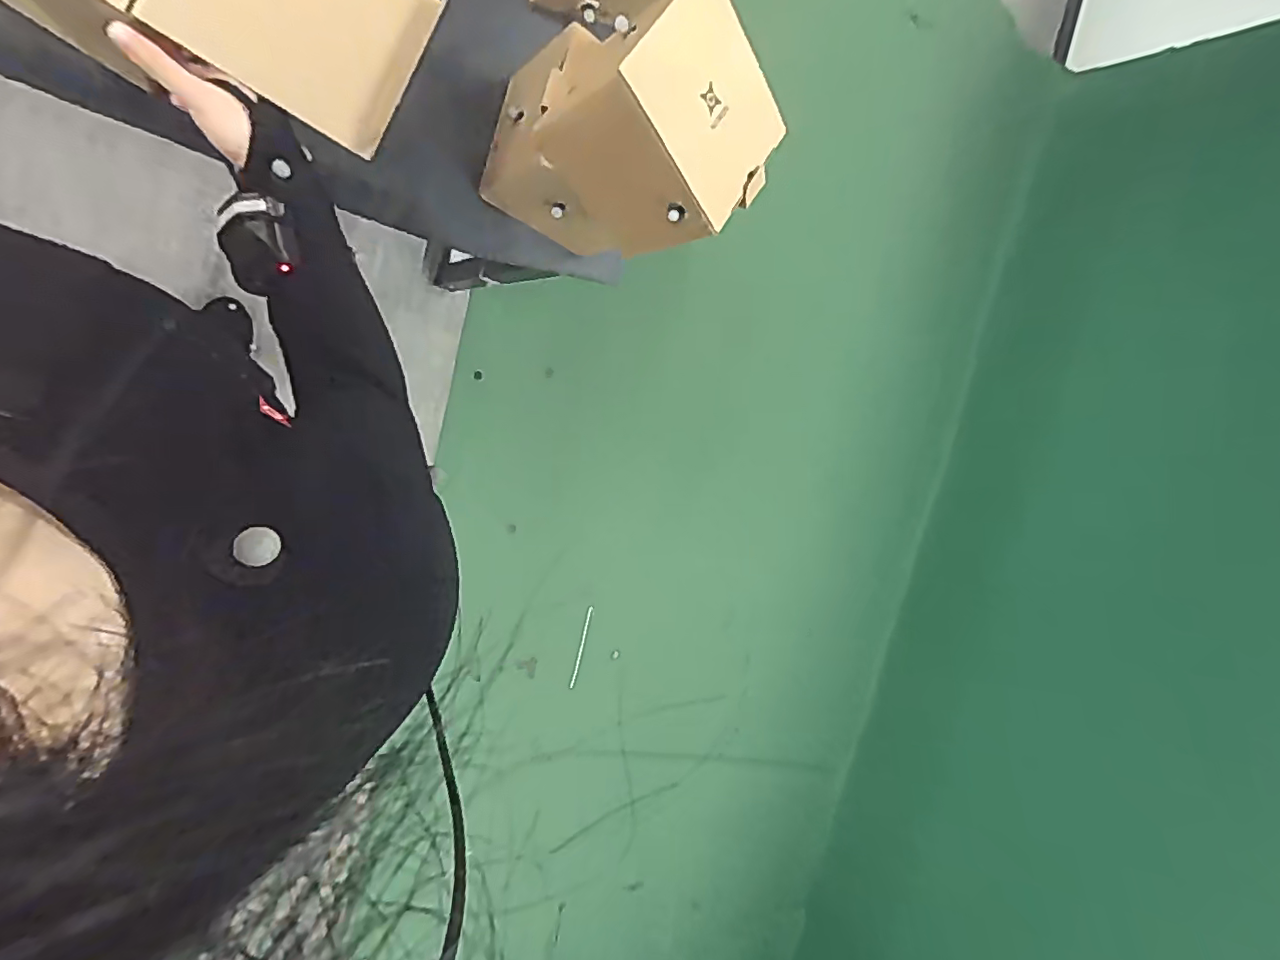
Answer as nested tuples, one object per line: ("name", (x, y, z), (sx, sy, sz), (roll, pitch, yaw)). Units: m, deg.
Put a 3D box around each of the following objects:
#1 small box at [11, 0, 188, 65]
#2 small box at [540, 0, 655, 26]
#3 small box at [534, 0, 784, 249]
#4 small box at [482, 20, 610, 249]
("small box", (-0.450, -0.463, 0.406), (0.179, 0.176, 0.168), (26, 85, -38))
("small box", (-0.038, -0.709, 0.664), (0.168, 0.176, 0.179), (-17, 115, -31))
("small box", (0.018, -0.380, 0.588), (0.179, 0.176, 0.168), (44, 72, -38))
("small box", (-0.083, -0.426, 0.709), (0.179, 0.176, 0.168), (16, 90, -40))
